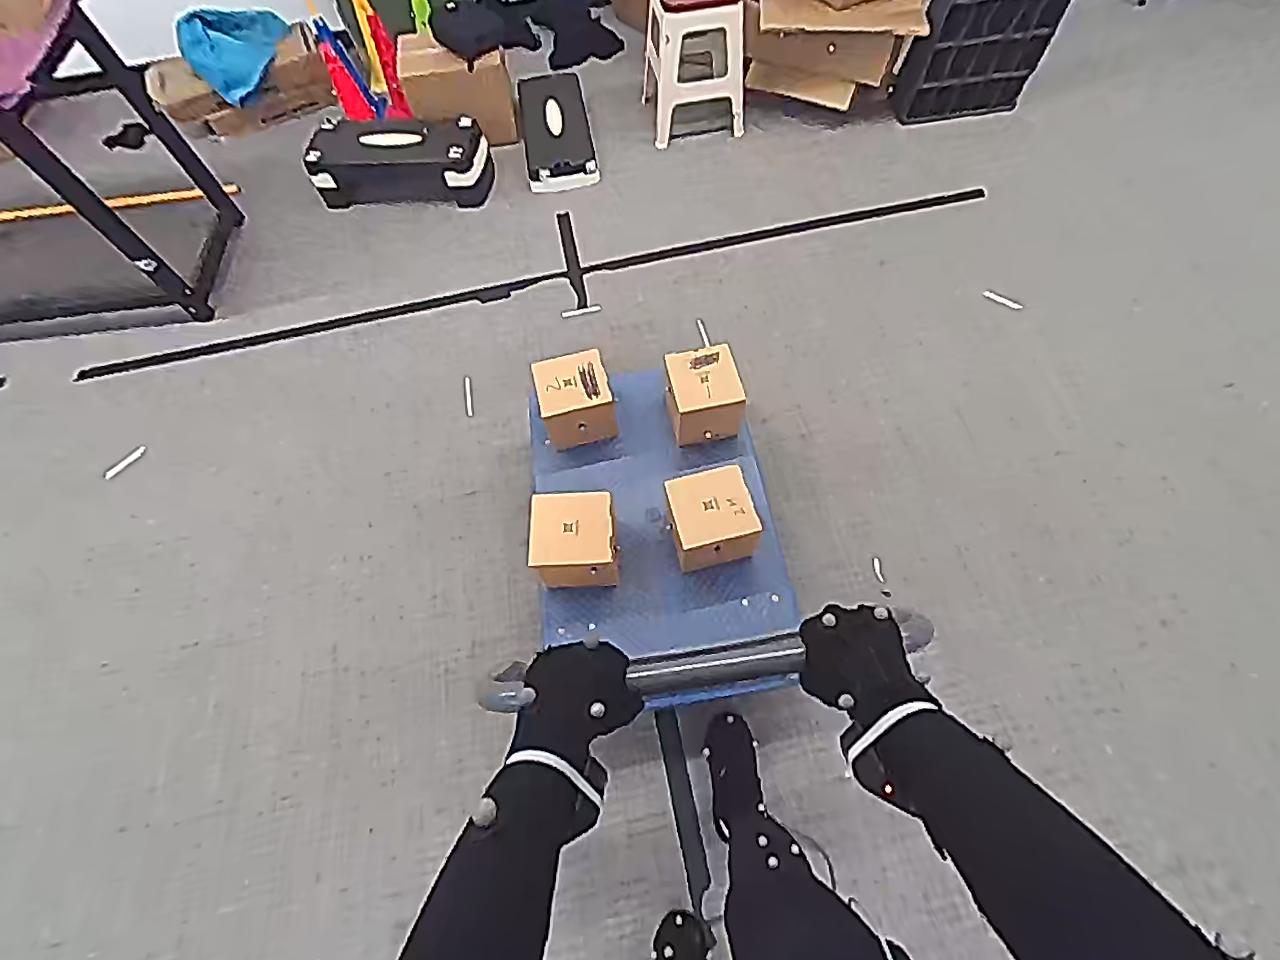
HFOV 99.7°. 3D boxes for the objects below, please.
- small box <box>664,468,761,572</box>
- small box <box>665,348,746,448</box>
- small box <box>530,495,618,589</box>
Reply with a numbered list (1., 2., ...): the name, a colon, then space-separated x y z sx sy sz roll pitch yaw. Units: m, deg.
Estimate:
1. small box: 0.159 0.098 1.236 0.179 0.176 0.168 -13 64 -4
2. small box: 0.159 -0.206 1.384 0.168 0.176 0.179 -11 65 -3
3. small box: -0.143 0.146 1.229 0.179 0.176 0.168 -3 64 0
